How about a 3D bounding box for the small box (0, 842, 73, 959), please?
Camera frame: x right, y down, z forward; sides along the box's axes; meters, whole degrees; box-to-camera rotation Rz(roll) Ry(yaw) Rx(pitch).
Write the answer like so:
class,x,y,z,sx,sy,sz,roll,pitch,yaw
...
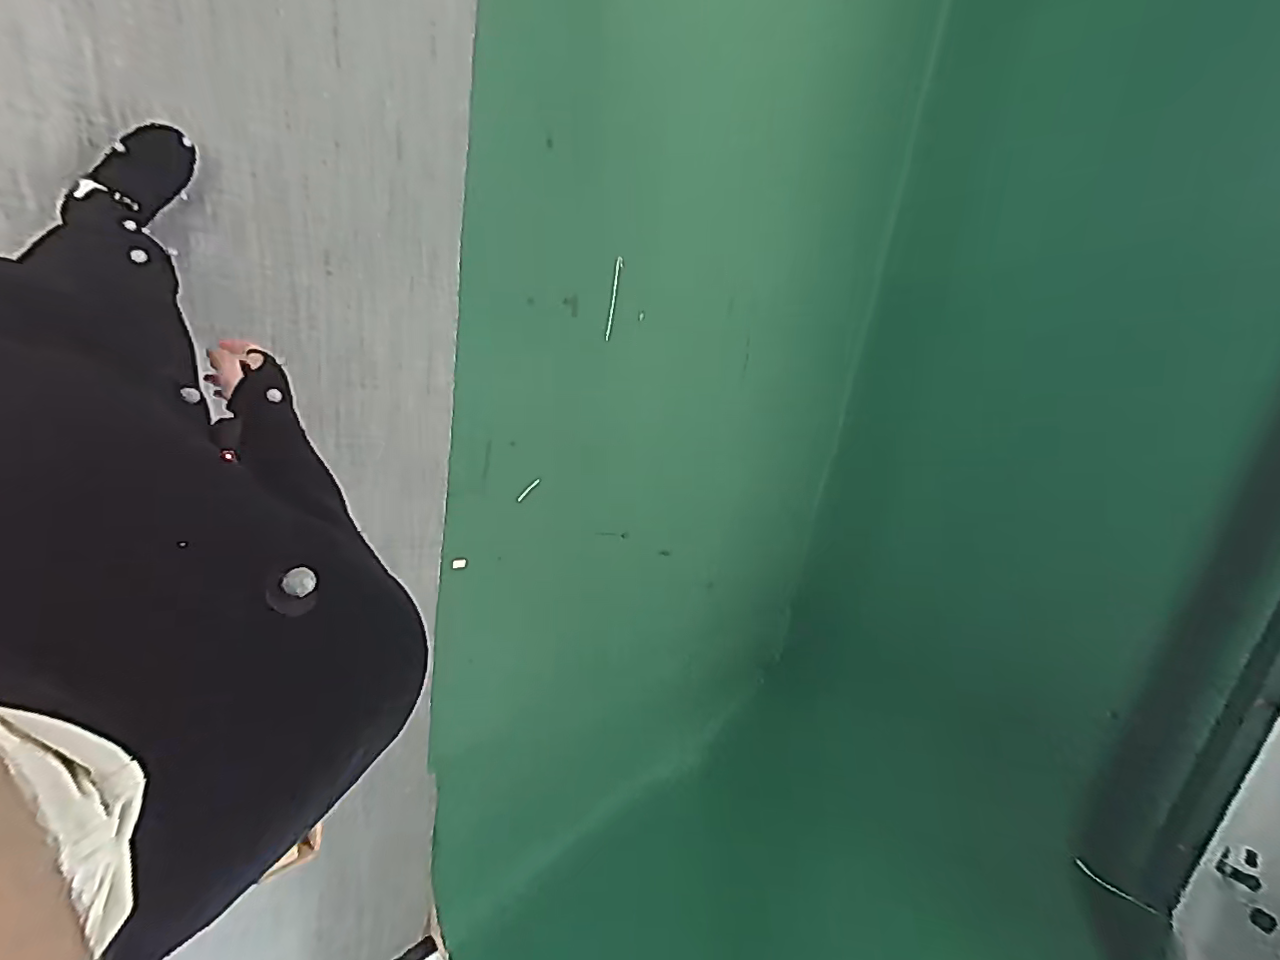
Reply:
class,x,y,z,sx,sy,sz,roll,pitch,yaw
small box,-1.086,0.775,0.918,0.168,0.176,0.179,-4,108,-47
